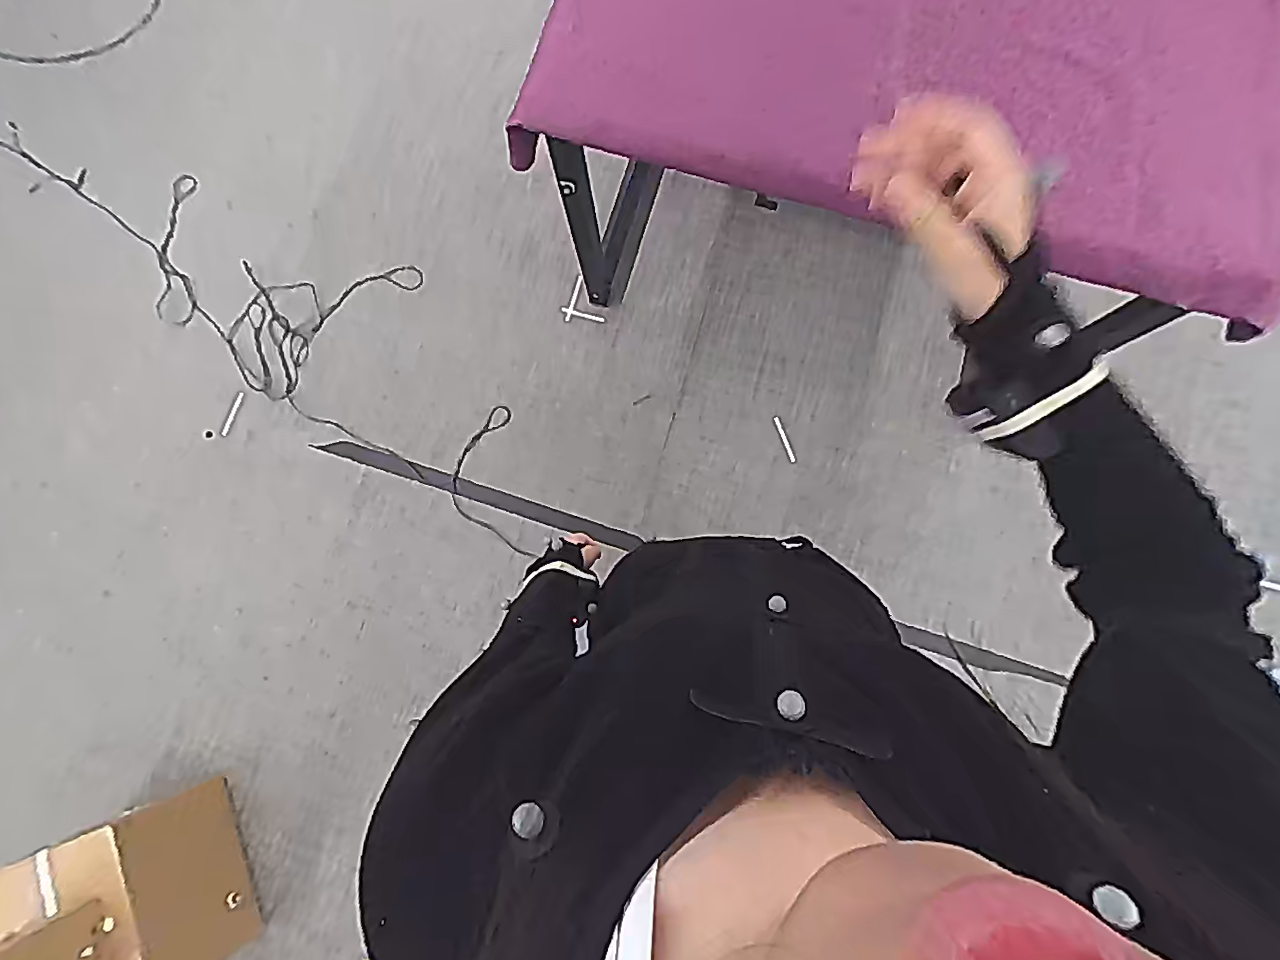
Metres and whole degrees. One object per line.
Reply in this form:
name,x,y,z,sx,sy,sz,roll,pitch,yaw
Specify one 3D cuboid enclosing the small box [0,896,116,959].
small box,-1.179,0.961,1.040,0.179,0.176,0.168,-24,80,-2
